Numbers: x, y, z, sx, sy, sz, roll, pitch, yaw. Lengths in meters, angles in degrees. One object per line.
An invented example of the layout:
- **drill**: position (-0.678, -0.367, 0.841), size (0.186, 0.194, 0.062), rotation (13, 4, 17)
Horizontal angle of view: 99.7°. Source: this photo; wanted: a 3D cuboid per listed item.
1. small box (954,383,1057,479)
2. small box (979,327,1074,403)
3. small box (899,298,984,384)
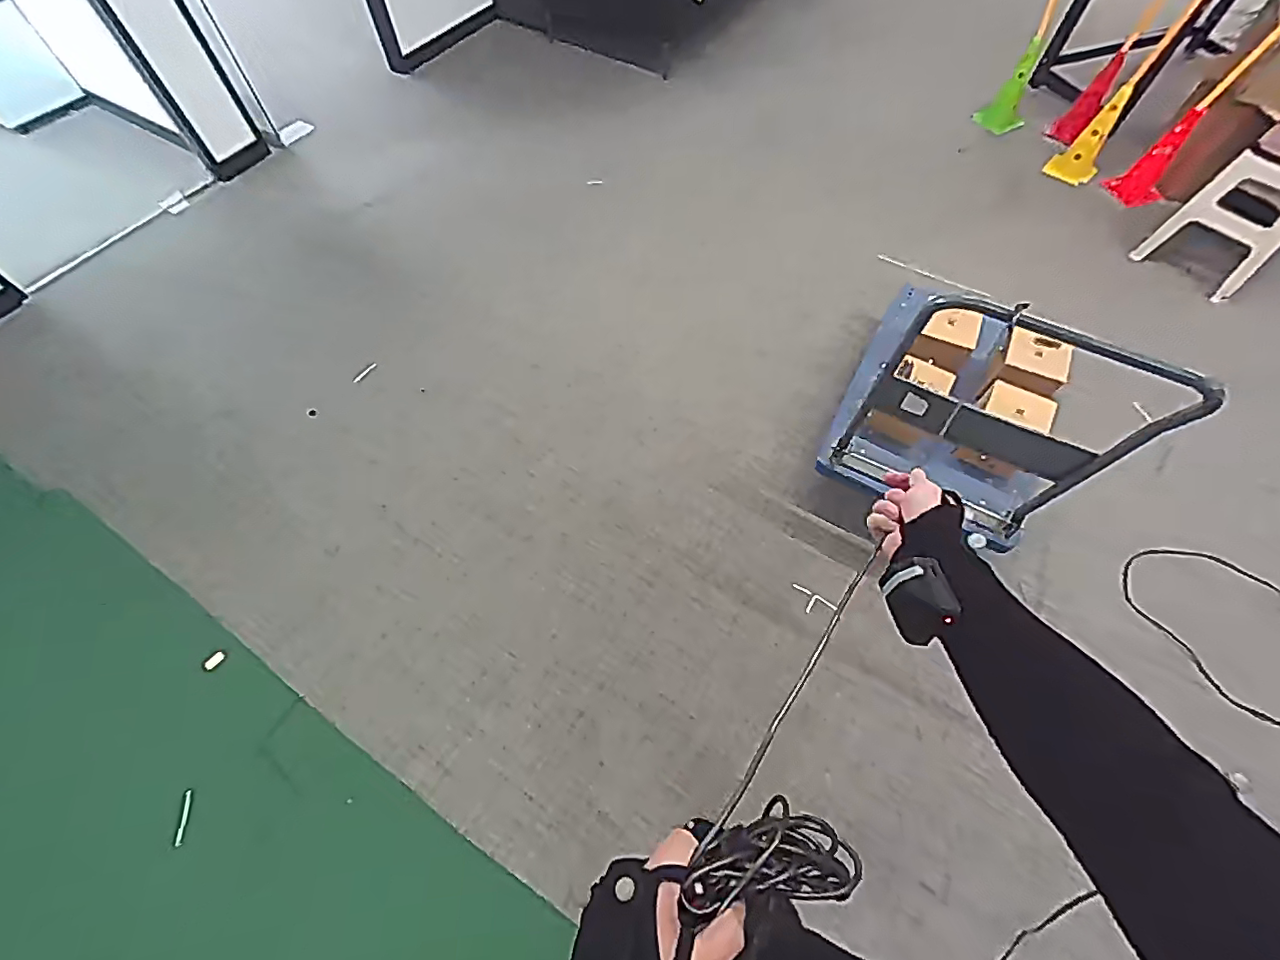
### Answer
- **small box**: position (1.035, -0.136, 1.543), size (0.168, 0.176, 0.179), rotation (28, 66, 15)
- **small box**: position (1.166, -0.324, 1.642), size (0.168, 0.176, 0.179), rotation (24, 65, 14)
- **small box**: position (0.944, -0.433, 1.705), size (0.168, 0.176, 0.179), rotation (23, 64, 12)
